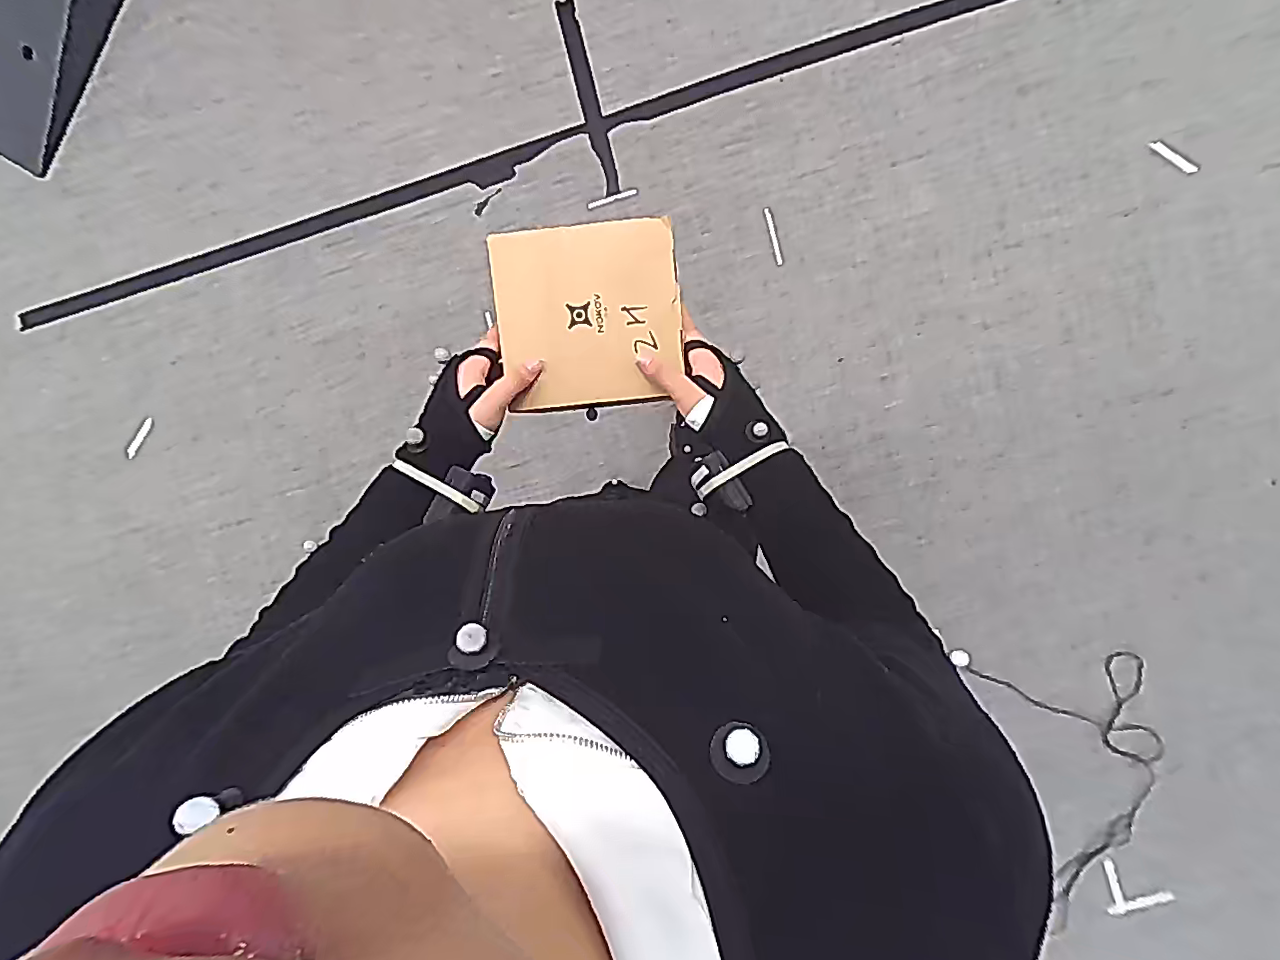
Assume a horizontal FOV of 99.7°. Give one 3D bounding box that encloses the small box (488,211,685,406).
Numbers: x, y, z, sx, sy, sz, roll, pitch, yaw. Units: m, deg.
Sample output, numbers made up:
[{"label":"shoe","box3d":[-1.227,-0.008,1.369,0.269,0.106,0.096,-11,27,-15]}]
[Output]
[{"label":"small box","box3d":[-0.048,-0.171,0.590,0.179,0.176,0.168,-6,97,0]}]
